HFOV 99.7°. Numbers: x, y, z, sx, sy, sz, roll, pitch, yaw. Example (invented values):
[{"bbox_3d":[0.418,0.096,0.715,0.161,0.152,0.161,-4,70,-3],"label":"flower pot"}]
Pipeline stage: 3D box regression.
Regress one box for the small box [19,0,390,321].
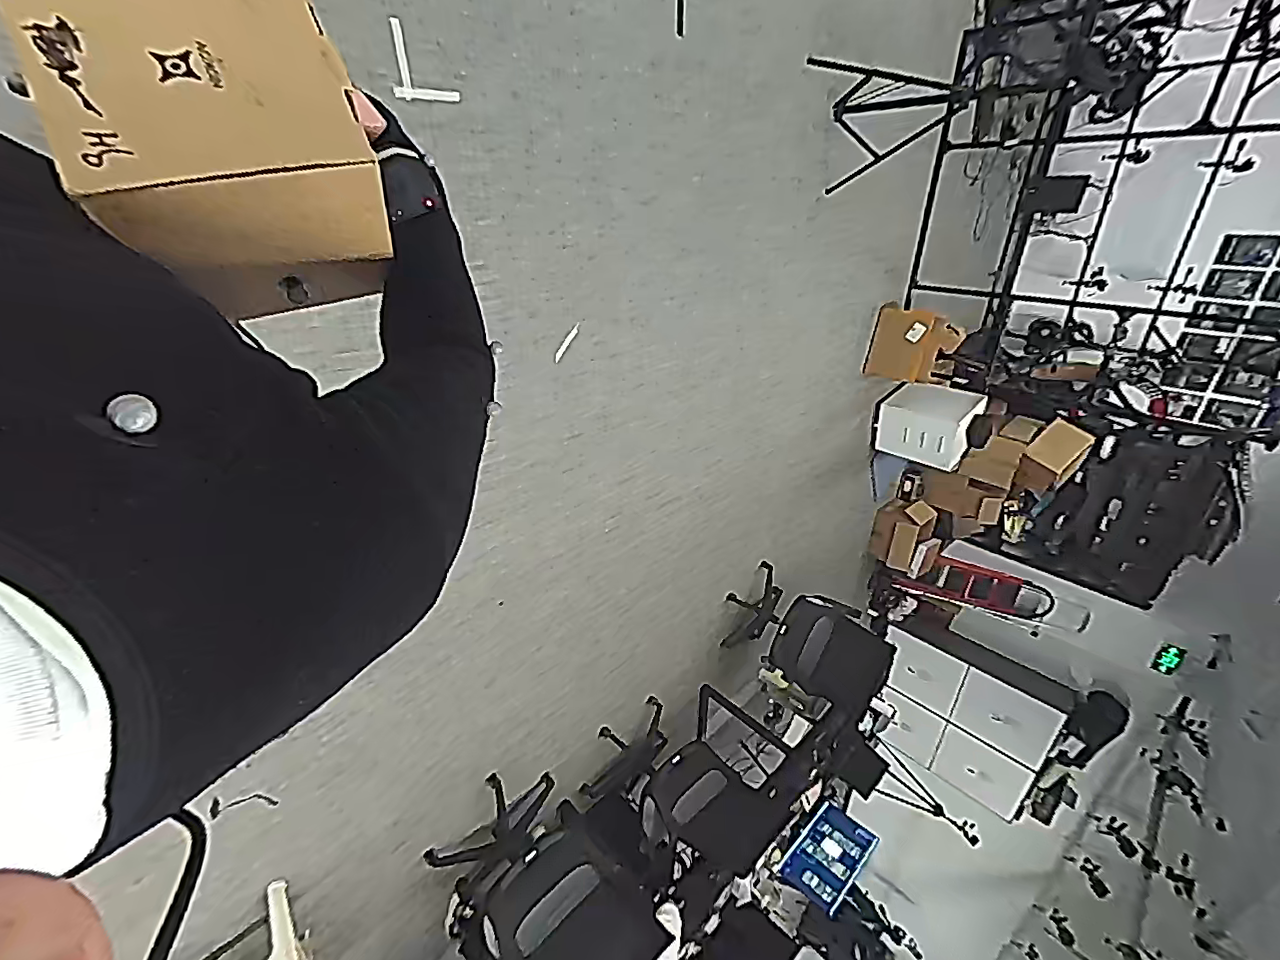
[{"bbox_3d":[-0.322,-0.257,0.445,0.179,0.176,0.168,-22,85,-22],"label":"small box"}]
